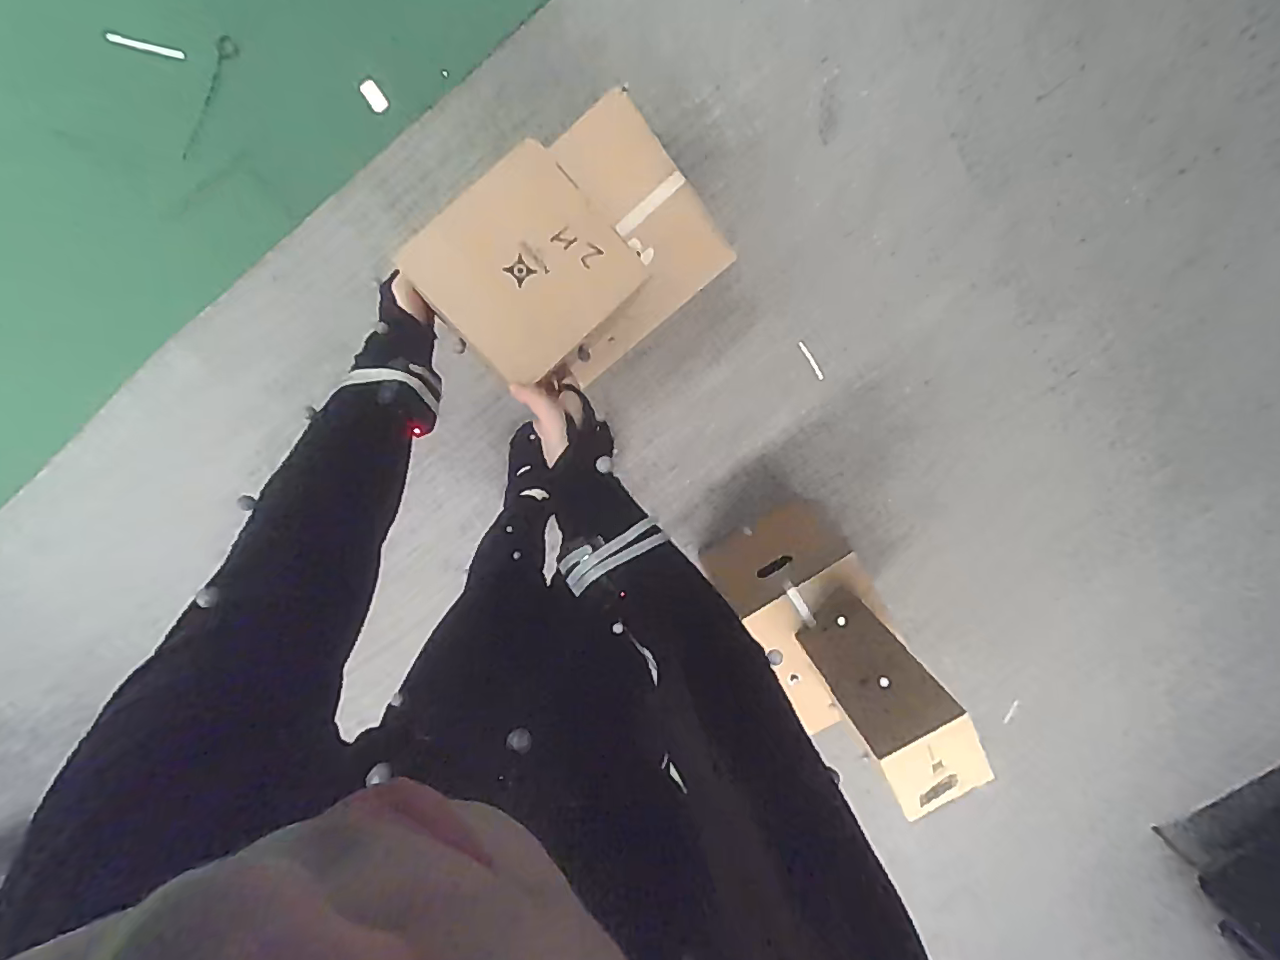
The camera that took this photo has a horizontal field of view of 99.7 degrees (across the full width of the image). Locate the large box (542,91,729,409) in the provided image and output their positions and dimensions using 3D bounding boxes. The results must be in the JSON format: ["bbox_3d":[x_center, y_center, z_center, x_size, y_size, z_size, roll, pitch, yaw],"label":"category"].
[{"bbox_3d":[-0.111,-0.399,1.018,0.408,0.320,0.320,-38,110,6],"label":"large box"}]

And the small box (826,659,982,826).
[{"bbox_3d":[0.467,0.462,0.973,0.168,0.176,0.179,-29,110,1],"label":"small box"}]

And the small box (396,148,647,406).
[{"bbox_3d":[-0.120,-0.196,0.583,0.179,0.176,0.168,-43,101,-6],"label":"small box"}]

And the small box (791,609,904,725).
[{"bbox_3d":[0.444,0.405,1.125,0.168,0.176,0.179,-30,111,2],"label":"small box"}]
